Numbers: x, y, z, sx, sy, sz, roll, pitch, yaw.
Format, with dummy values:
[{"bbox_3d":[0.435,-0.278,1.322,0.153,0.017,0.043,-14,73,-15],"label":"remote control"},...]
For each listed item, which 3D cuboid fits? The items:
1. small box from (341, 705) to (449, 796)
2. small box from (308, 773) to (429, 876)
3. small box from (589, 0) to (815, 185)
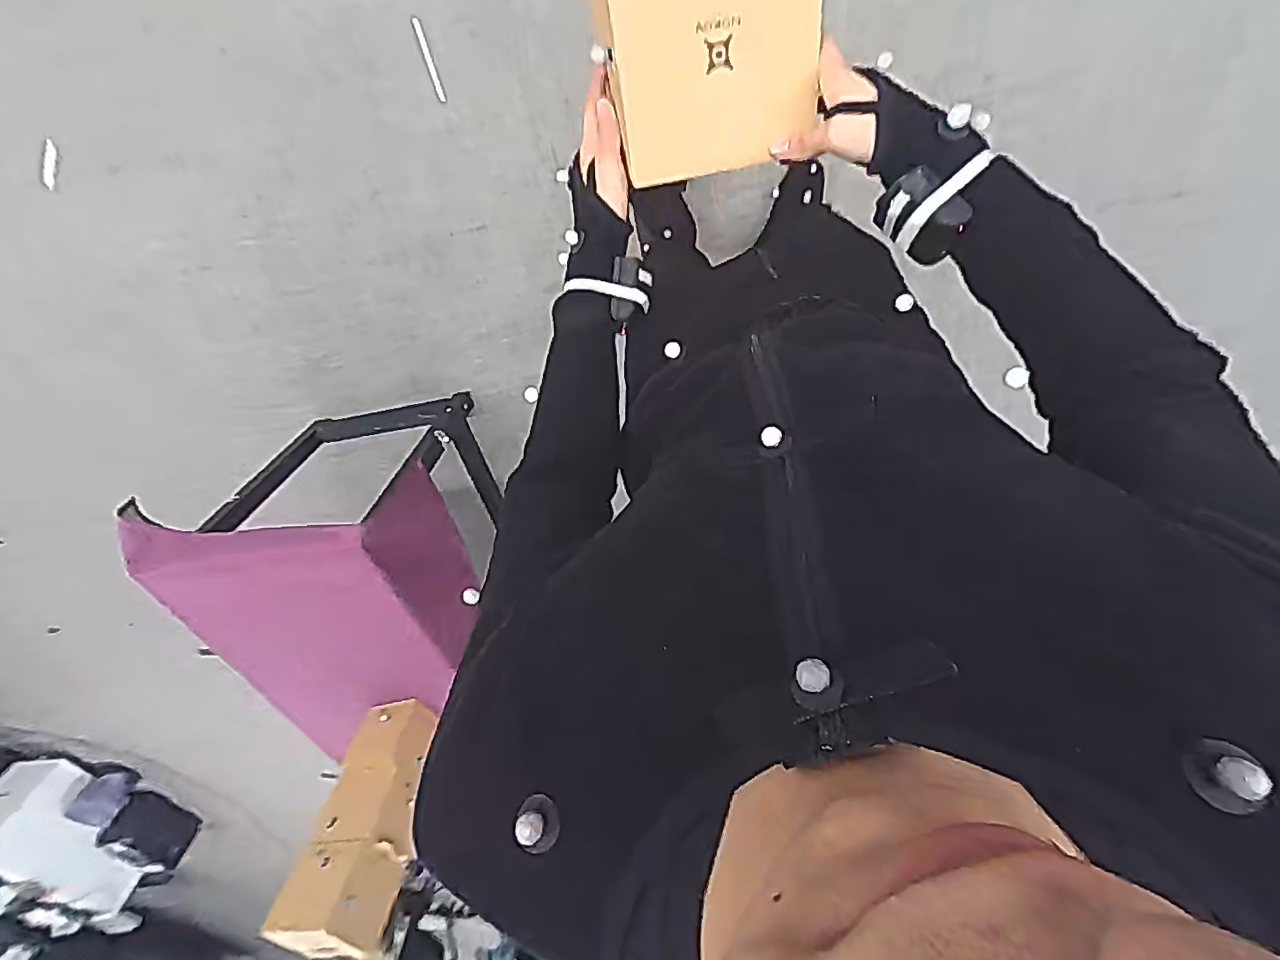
[{"bbox_3d":[-0.652,0.739,1.465,0.168,0.176,0.179,-17,122,16],"label":"small box"},{"bbox_3d":[-0.664,0.854,1.346,0.179,0.176,0.168,-13,125,13],"label":"small box"},{"bbox_3d":[0.047,-0.390,0.490,0.168,0.176,0.179,-11,128,-1],"label":"small box"}]
